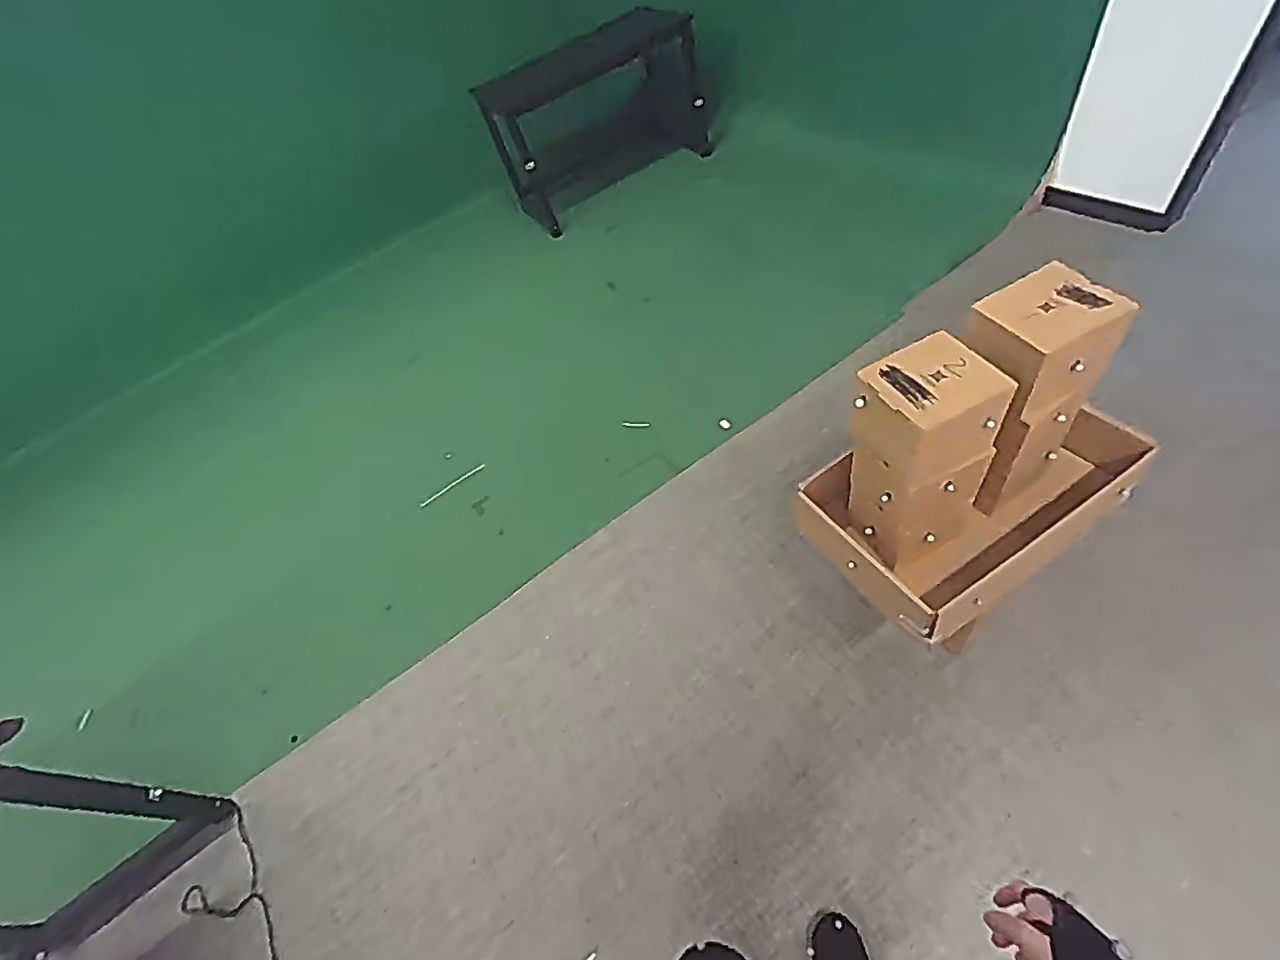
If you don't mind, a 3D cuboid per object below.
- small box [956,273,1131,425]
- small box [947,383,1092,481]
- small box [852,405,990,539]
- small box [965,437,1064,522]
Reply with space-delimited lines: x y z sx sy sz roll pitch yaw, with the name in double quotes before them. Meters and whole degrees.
"small box" 0.713 -0.235 0.984 0.179 0.176 0.168 -28 50 -1
"small box" 0.755 -0.134 1.107 0.179 0.176 0.168 -35 52 -8
"small box" 0.542 -0.011 1.074 0.179 0.176 0.168 -24 50 -3
"small box" 0.800 -0.040 1.231 0.179 0.176 0.168 -34 50 -8
